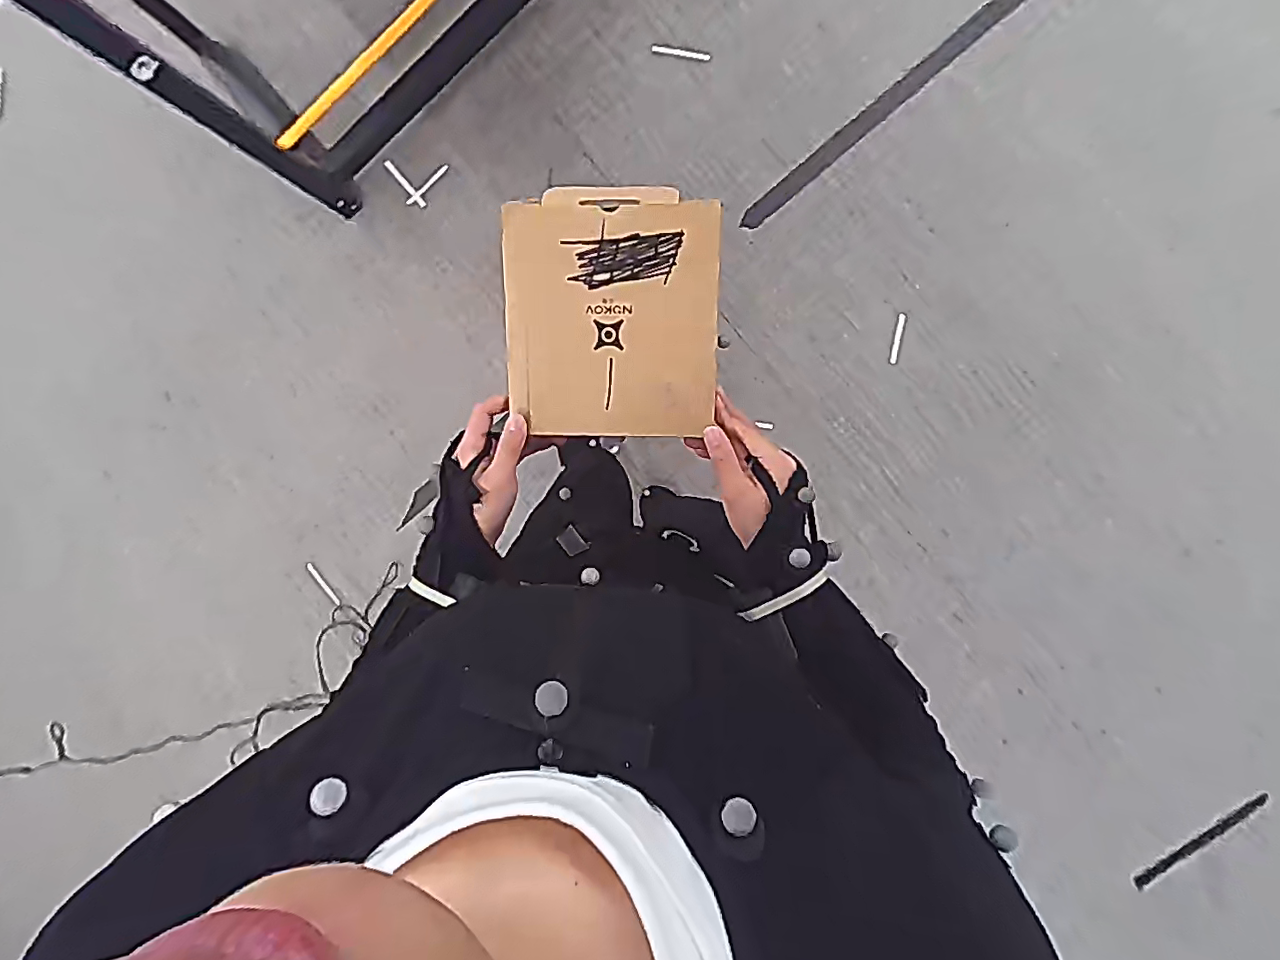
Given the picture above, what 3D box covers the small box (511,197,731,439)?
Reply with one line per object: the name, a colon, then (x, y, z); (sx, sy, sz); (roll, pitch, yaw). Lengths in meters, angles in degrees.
small box: (-0.013, -0.136, 0.492); (0.168, 0.176, 0.179); (3, 101, 4)
